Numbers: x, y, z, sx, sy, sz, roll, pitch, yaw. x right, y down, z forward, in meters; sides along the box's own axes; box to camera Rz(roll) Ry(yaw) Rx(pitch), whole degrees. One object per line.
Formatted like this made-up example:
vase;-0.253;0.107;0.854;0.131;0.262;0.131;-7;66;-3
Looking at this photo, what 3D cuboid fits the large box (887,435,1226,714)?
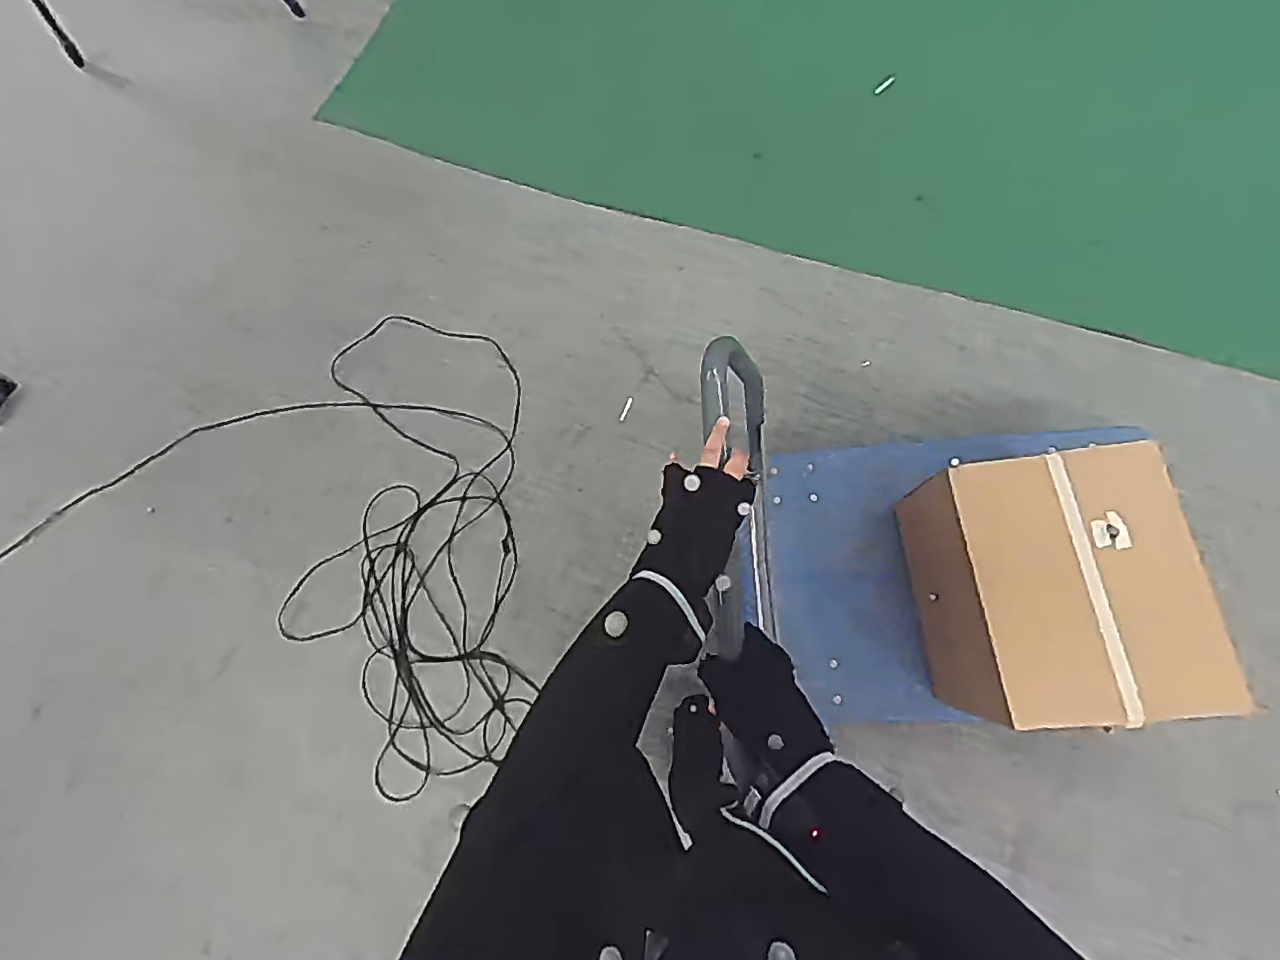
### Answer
large box;0.689;0.177;0.983;0.320;0.320;0.408;-8;74;7
